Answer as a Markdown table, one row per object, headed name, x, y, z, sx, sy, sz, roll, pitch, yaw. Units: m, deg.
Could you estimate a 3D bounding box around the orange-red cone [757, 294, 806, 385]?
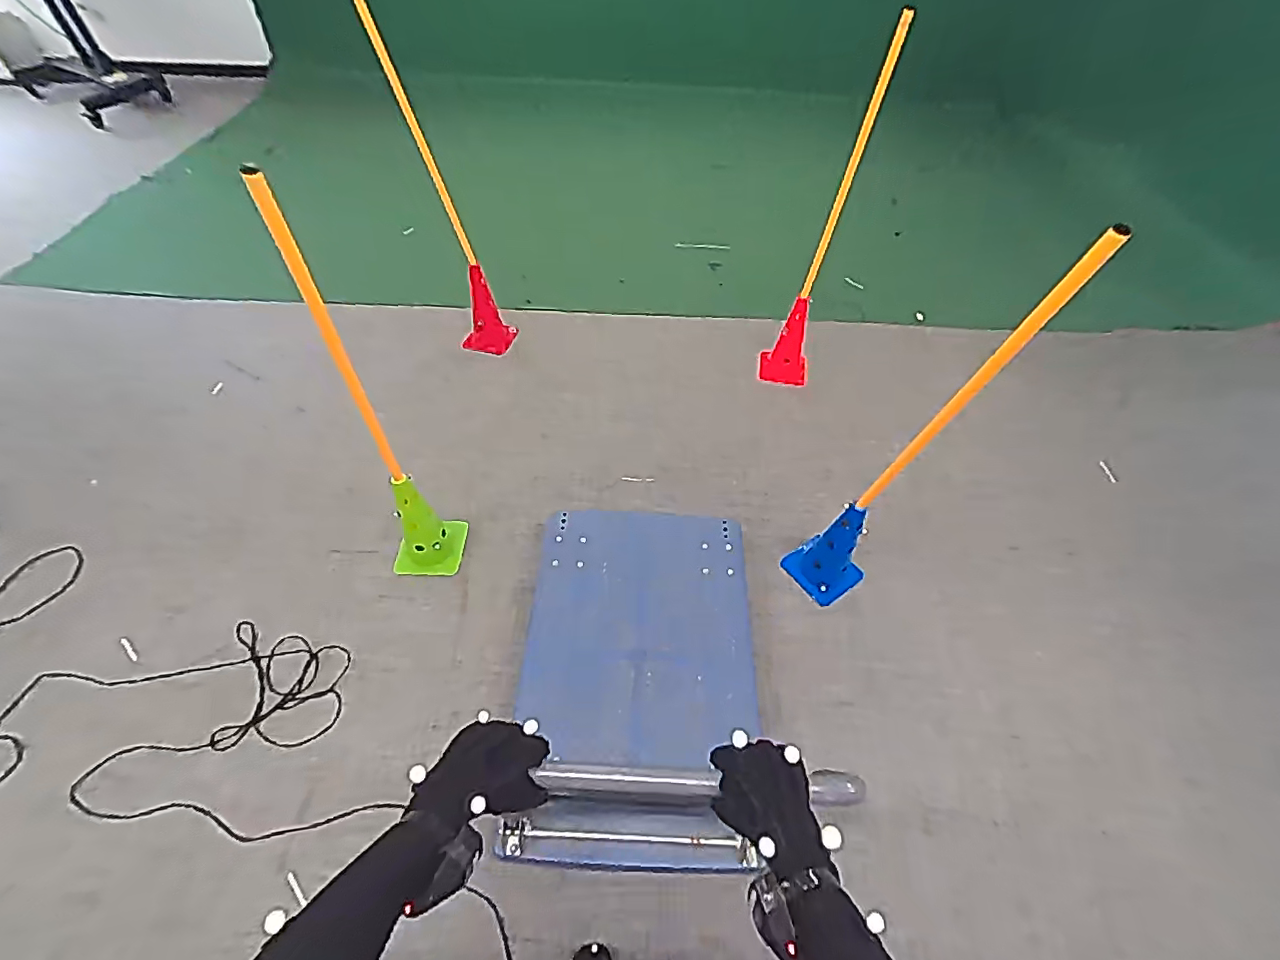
| name | x | y | z | sx | sy | sz | roll | pitch | yaw |
| --- | --- | --- | --- | --- | --- | --- | --- | --- | --- |
| orange-red cone | 0.614 | -0.591 | 2.205 | 0.198 | 0.360 | 0.199 | 10 | 52 | 7 |
